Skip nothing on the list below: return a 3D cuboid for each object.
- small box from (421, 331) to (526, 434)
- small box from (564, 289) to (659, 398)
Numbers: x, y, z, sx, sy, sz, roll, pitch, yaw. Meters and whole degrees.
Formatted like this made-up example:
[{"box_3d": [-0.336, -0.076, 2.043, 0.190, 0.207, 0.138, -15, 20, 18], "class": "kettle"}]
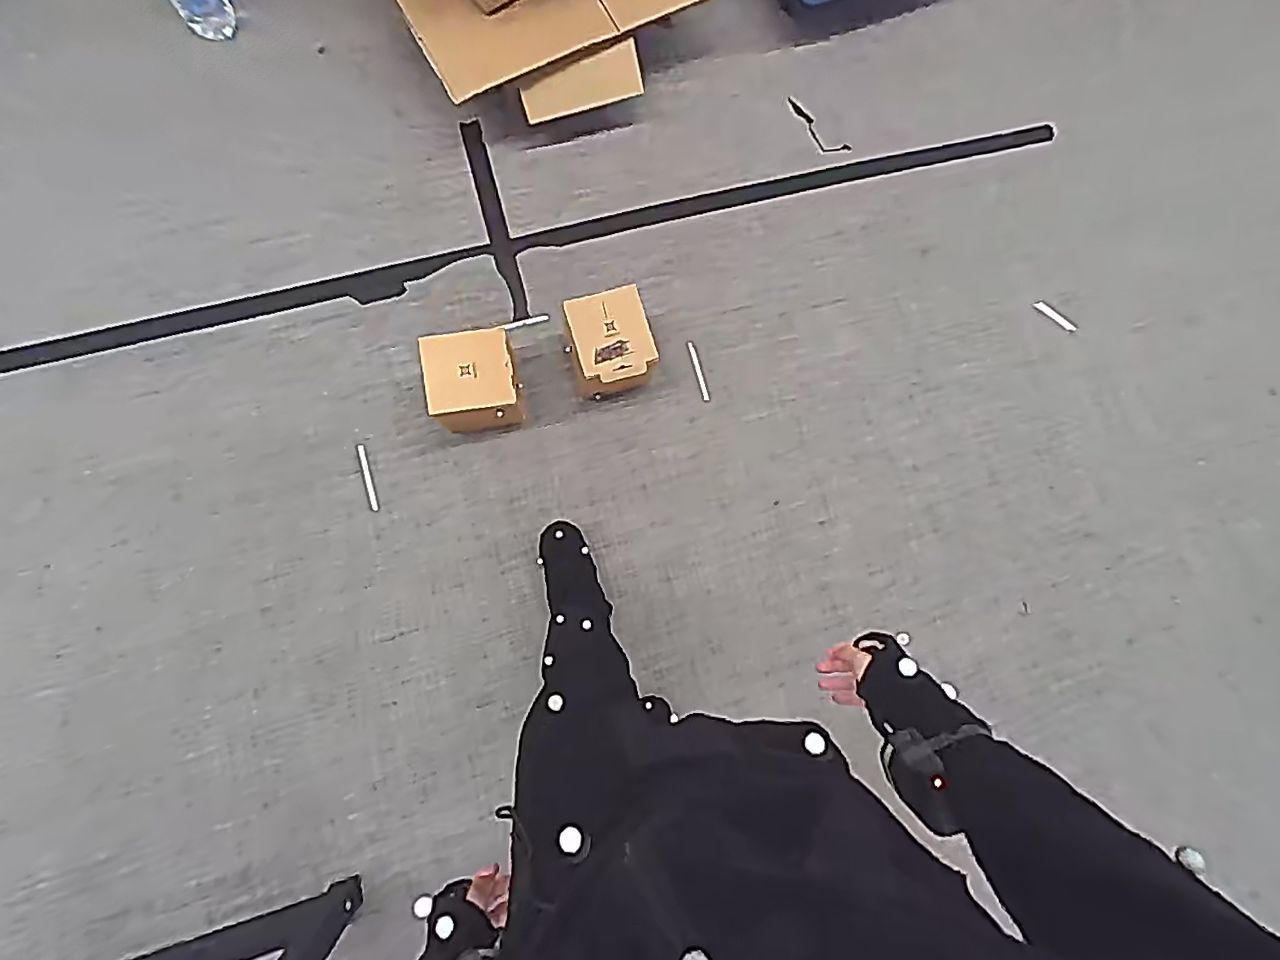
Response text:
[{"box_3d": [-0.352, -0.203, 1.167, 0.179, 0.176, 0.168, -10, 84, -9], "class": "small box"}, {"box_3d": [-0.068, -0.296, 1.216, 0.168, 0.176, 0.179, -16, 84, -10], "class": "small box"}]
